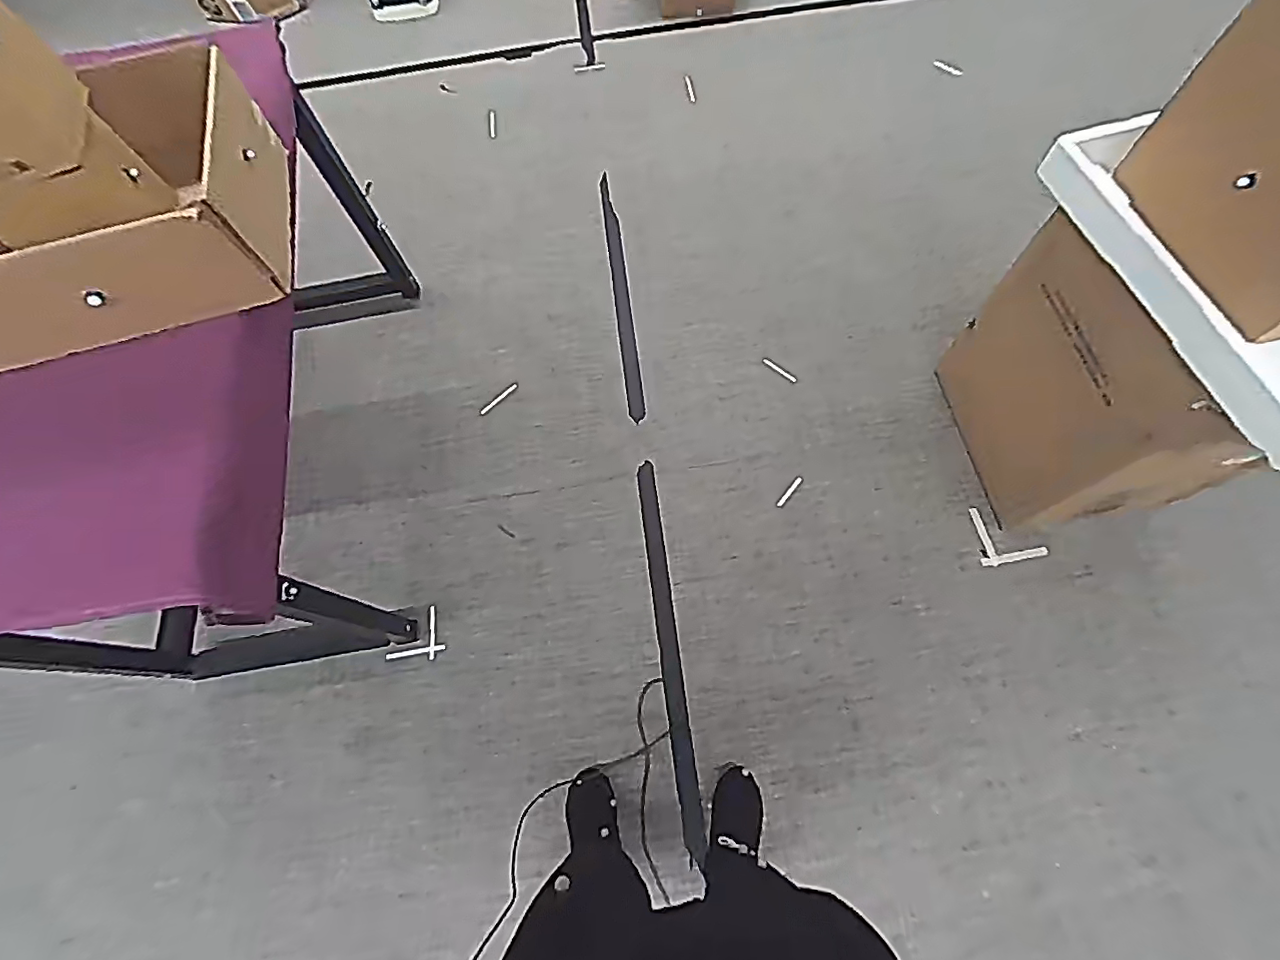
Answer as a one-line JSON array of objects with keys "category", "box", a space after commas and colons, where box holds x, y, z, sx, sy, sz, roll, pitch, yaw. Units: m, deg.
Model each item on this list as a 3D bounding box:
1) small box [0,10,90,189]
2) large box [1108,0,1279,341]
[{"category": "small box", "box": [-0.849, -0.491, 0.673, 0.168, 0.176, 0.179, -20, 66, -3]}, {"category": "large box", "box": [1.044, -0.480, 0.795, 0.320, 0.320, 0.408, -12, 65, -2]}]
